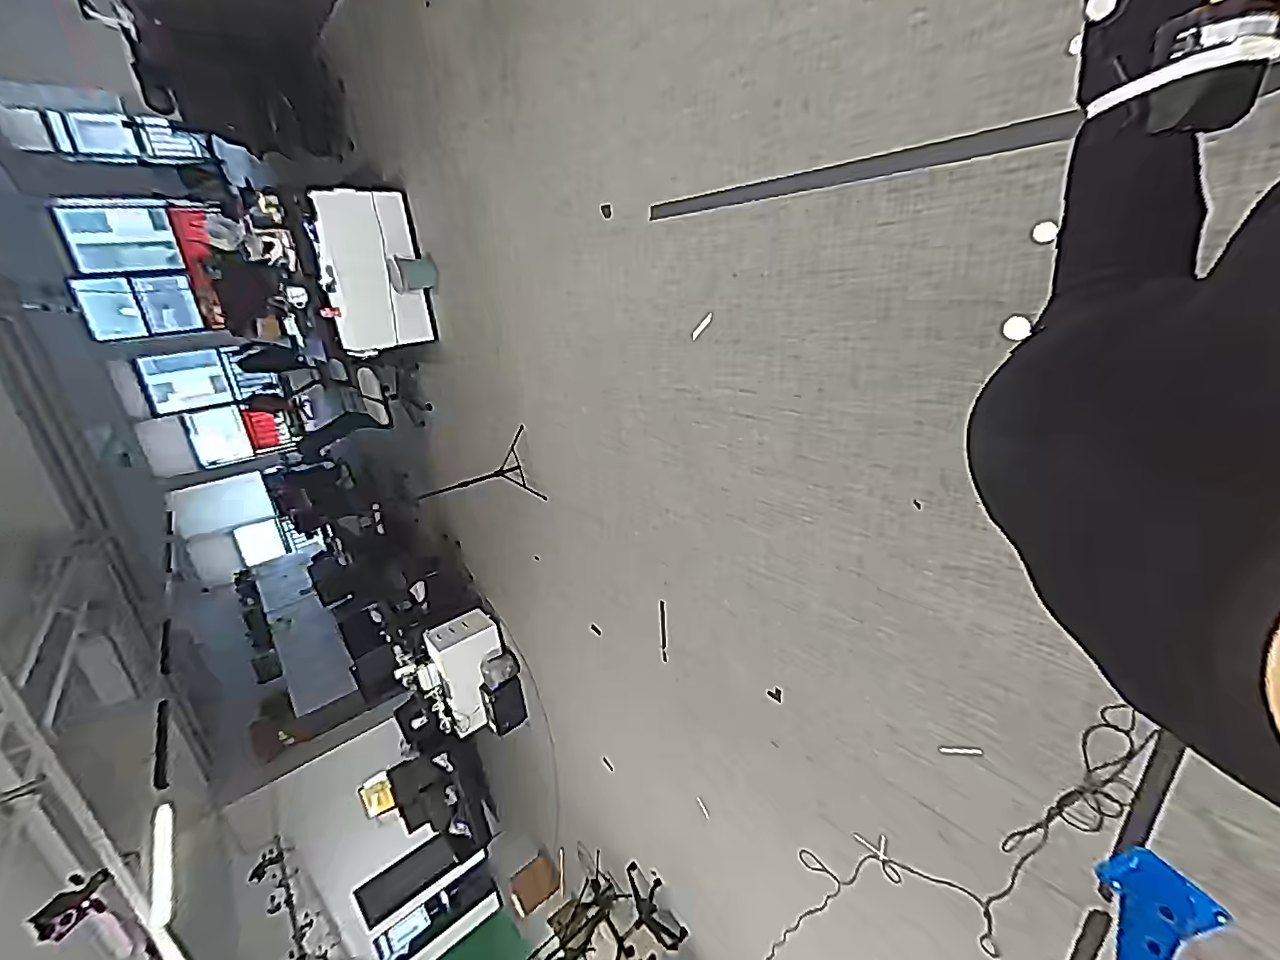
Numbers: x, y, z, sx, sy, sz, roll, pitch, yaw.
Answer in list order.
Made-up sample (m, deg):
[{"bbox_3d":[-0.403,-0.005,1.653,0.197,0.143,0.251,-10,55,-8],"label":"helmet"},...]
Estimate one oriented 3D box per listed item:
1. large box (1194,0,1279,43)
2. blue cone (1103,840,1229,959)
[{"bbox_3d":[0.558,-0.472,0.231,0.408,0.320,0.320,12,122,51],"label":"large box"},{"bbox_3d":[1.221,1.091,1.302,0.193,0.380,0.192,41,137,33],"label":"blue cone"}]
